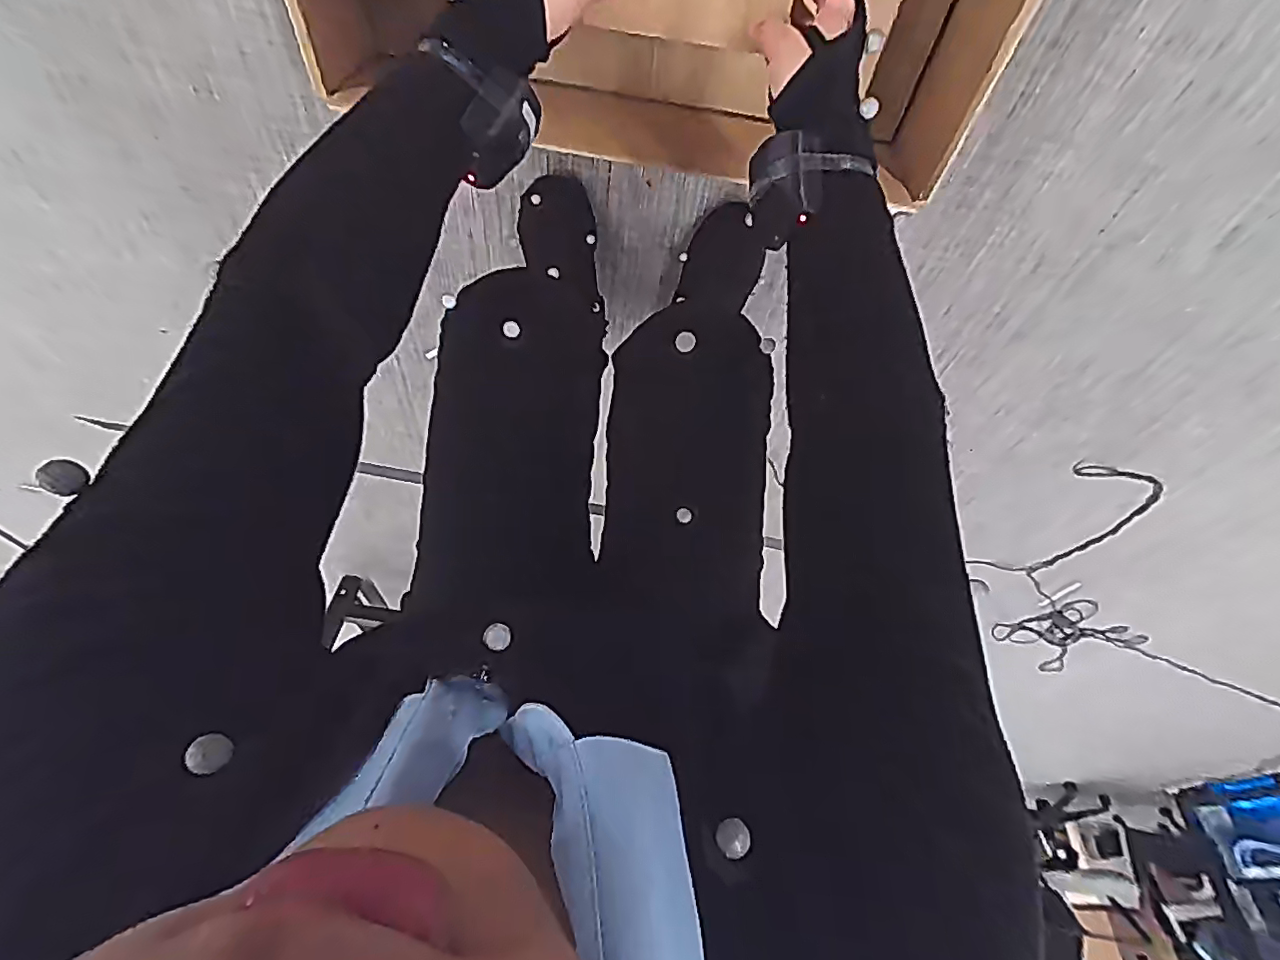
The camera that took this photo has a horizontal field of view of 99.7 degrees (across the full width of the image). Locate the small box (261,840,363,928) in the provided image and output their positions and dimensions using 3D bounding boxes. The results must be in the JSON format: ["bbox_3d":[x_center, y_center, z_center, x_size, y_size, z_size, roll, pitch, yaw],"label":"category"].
[{"bbox_3d":[-0.891,1.108,1.490,0.168,0.176,0.179,12,143,-6],"label":"small box"}]

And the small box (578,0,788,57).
[{"bbox_3d":[0.050,-0.472,0.418,0.168,0.176,0.179,9,143,-1],"label":"small box"}]
